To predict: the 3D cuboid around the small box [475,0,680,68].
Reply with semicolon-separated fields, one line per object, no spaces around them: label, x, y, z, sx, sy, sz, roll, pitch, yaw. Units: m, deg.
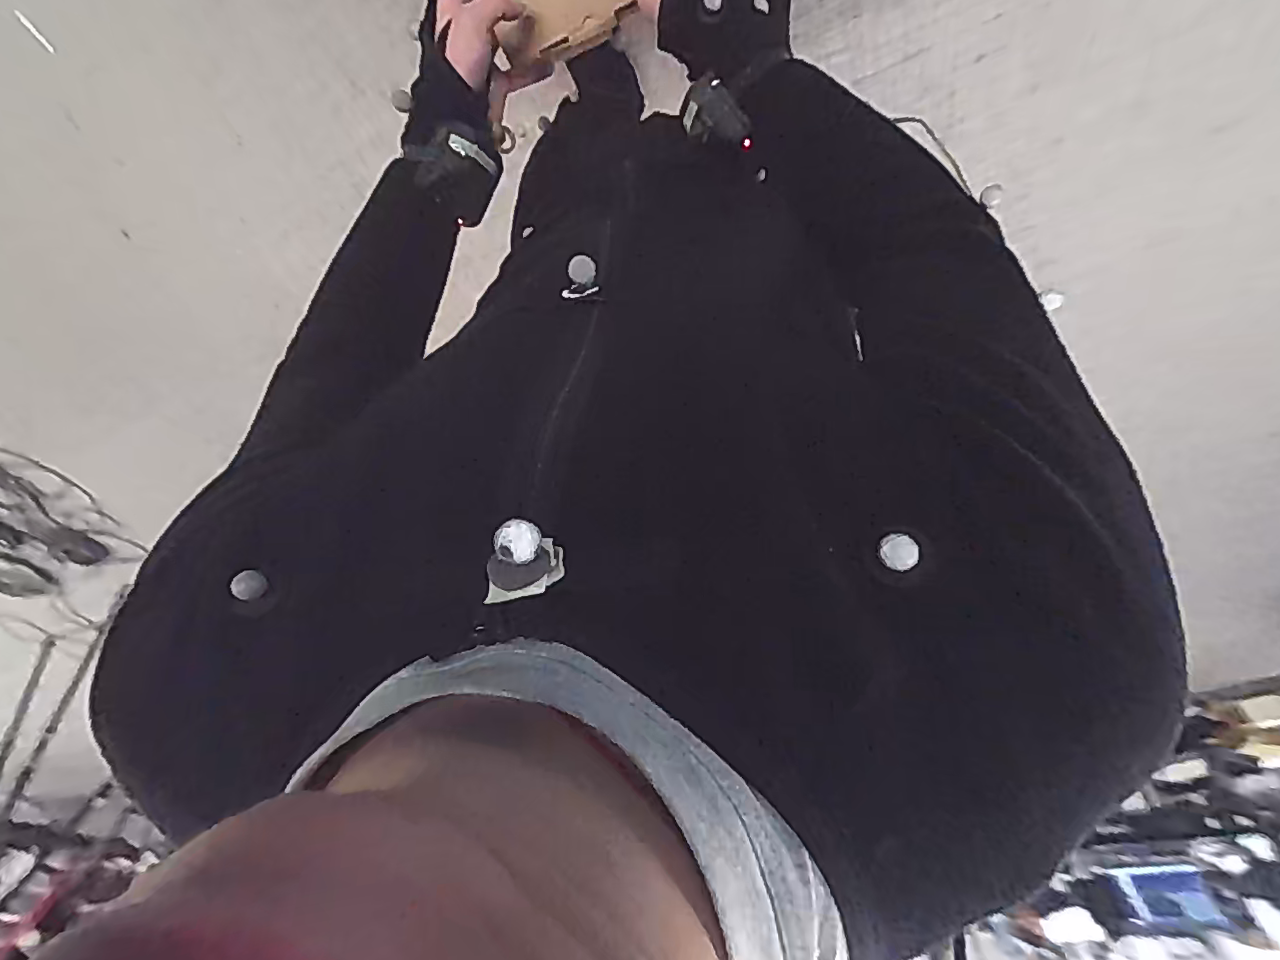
small box;-0.058;-0.491;0.461;0.168;0.176;0.179;-9;126;21
